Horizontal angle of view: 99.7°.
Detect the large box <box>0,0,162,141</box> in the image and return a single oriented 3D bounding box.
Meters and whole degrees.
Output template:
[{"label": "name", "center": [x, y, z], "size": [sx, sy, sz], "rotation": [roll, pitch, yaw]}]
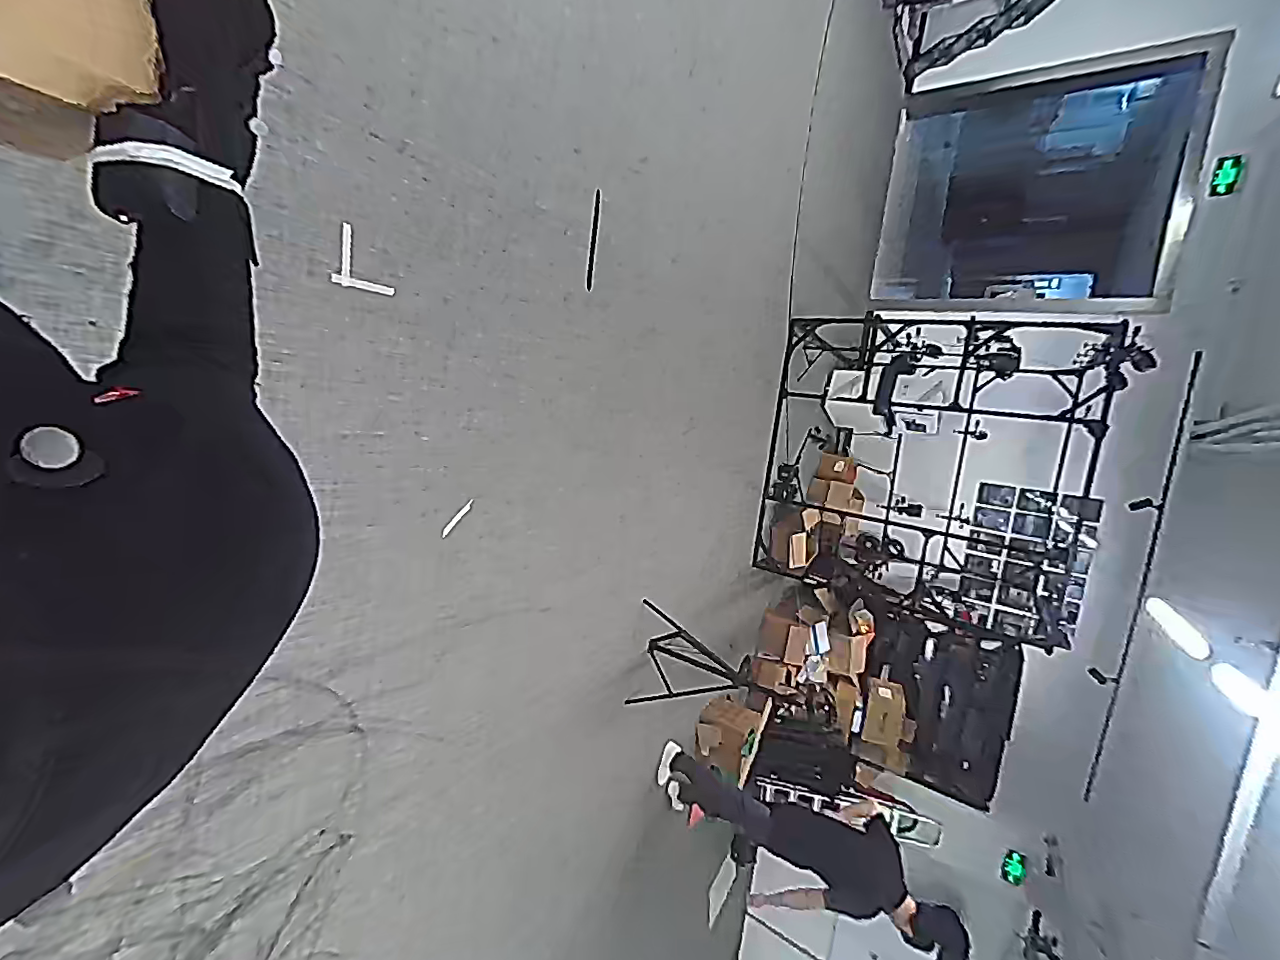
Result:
[{"label": "large box", "center": [-0.562, -0.445, 0.290], "size": [0.408, 0.320, 0.320], "rotation": [-3, 109, -57]}]
